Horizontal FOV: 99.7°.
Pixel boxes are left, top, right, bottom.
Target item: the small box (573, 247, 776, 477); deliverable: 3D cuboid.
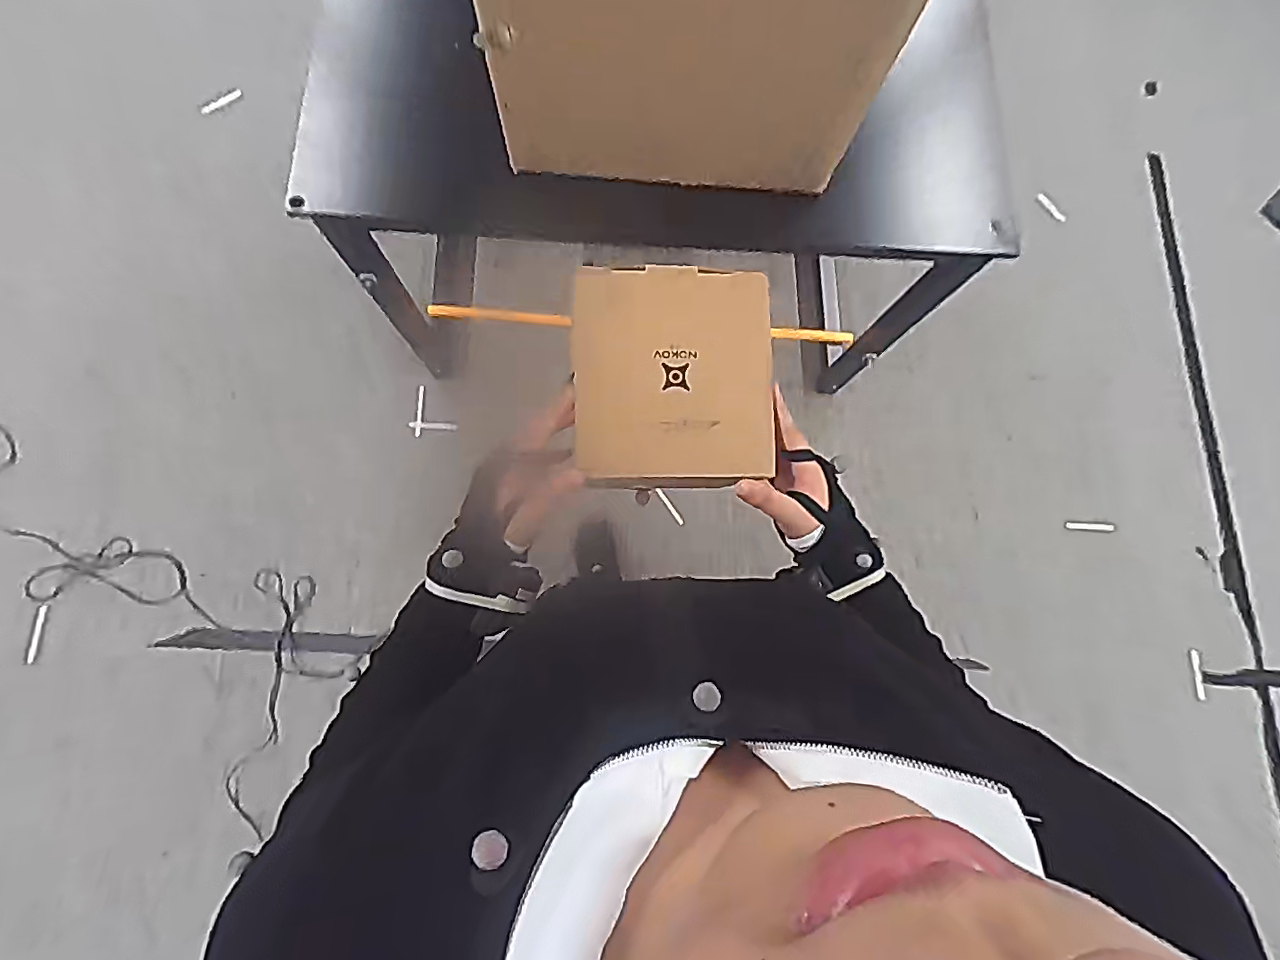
[{"bbox_3d":[0.020,-0.097,0.518,0.168,0.176,0.179,-1,87,-7],"label":"small box"}]
